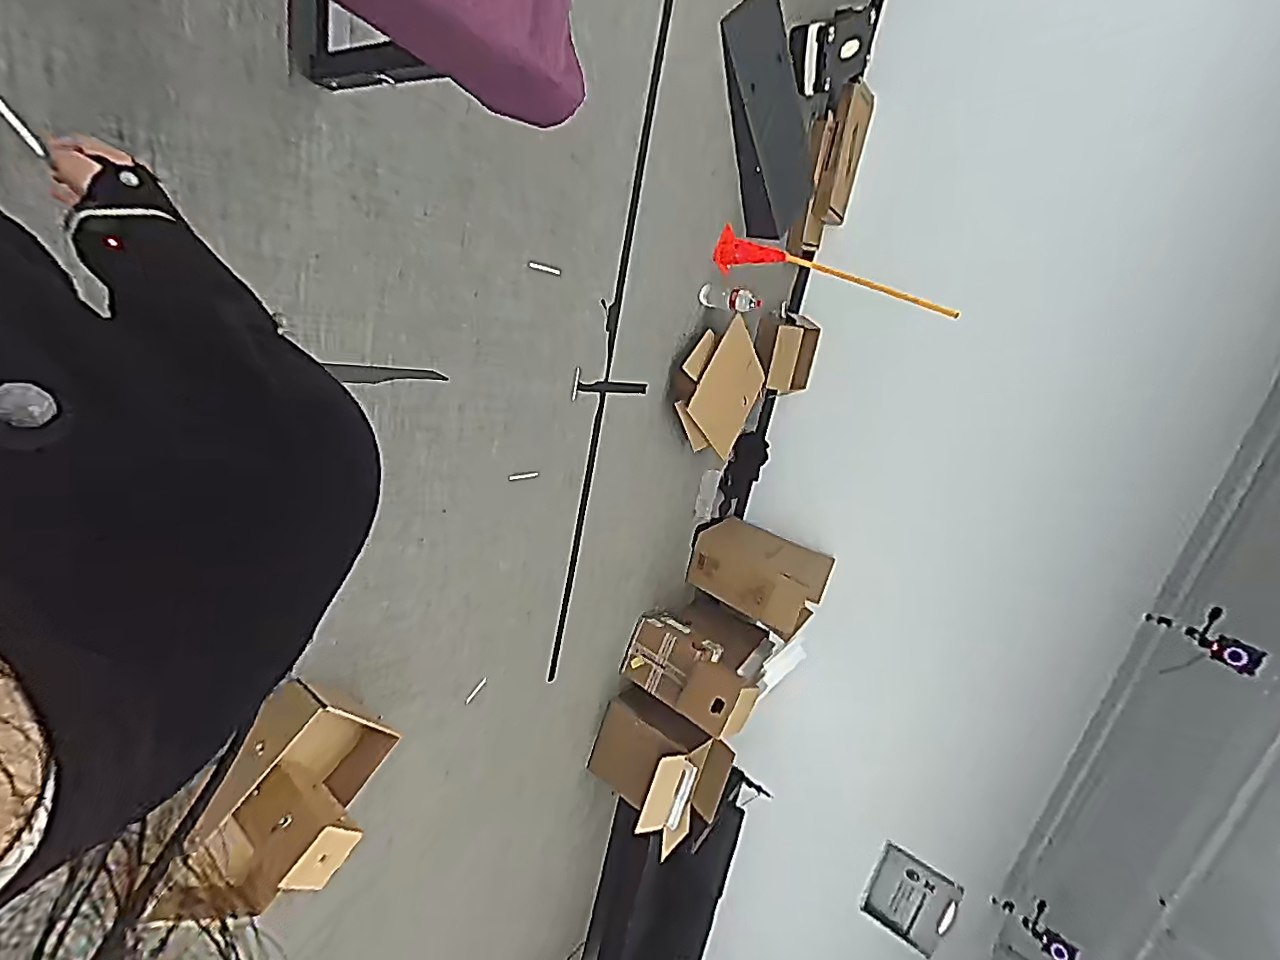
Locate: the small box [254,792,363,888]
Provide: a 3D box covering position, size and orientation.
[{"bbox_3d":[-0.954,1.034,1.559,0.168,0.176,0.179,-53,146,-25],"label":"small box"}]

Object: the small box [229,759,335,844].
[{"bbox_3d":[-1.084,0.980,1.640,0.168,0.176,0.179,-52,146,-26],"label":"small box"}]
